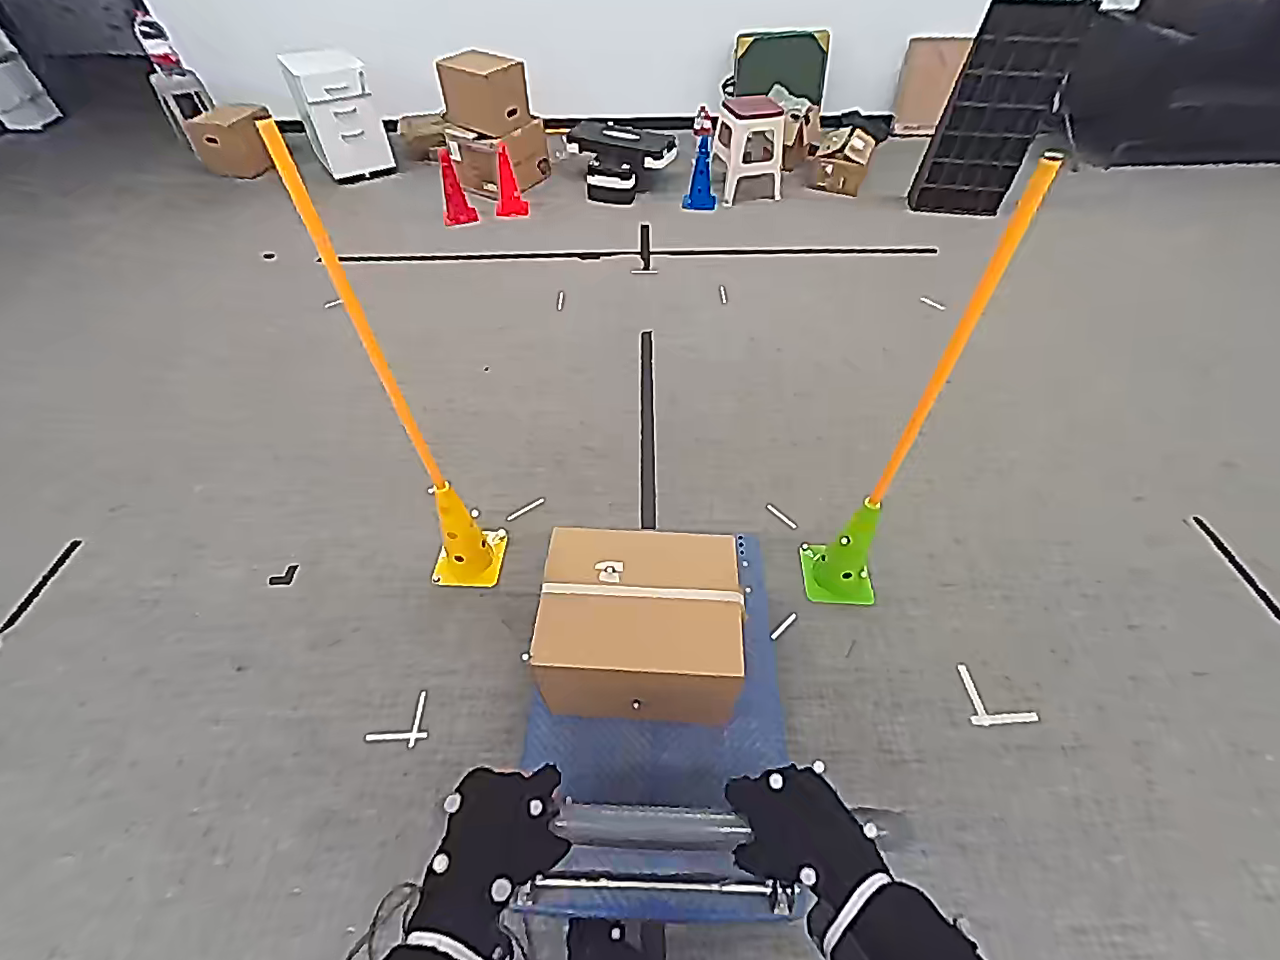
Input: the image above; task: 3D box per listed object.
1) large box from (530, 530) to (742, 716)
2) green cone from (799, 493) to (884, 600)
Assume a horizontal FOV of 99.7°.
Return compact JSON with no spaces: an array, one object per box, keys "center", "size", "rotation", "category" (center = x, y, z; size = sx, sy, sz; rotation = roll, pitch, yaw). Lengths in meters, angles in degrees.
[{"center":[0.001,0.327,1.216],"size":[0.408,0.320,0.320],"rotation":[2,50,3],"category":"large box"},{"center":[0.603,0.167,1.534],"size":[0.202,0.368,0.200],"rotation":[3,50,1],"category":"green cone"}]
